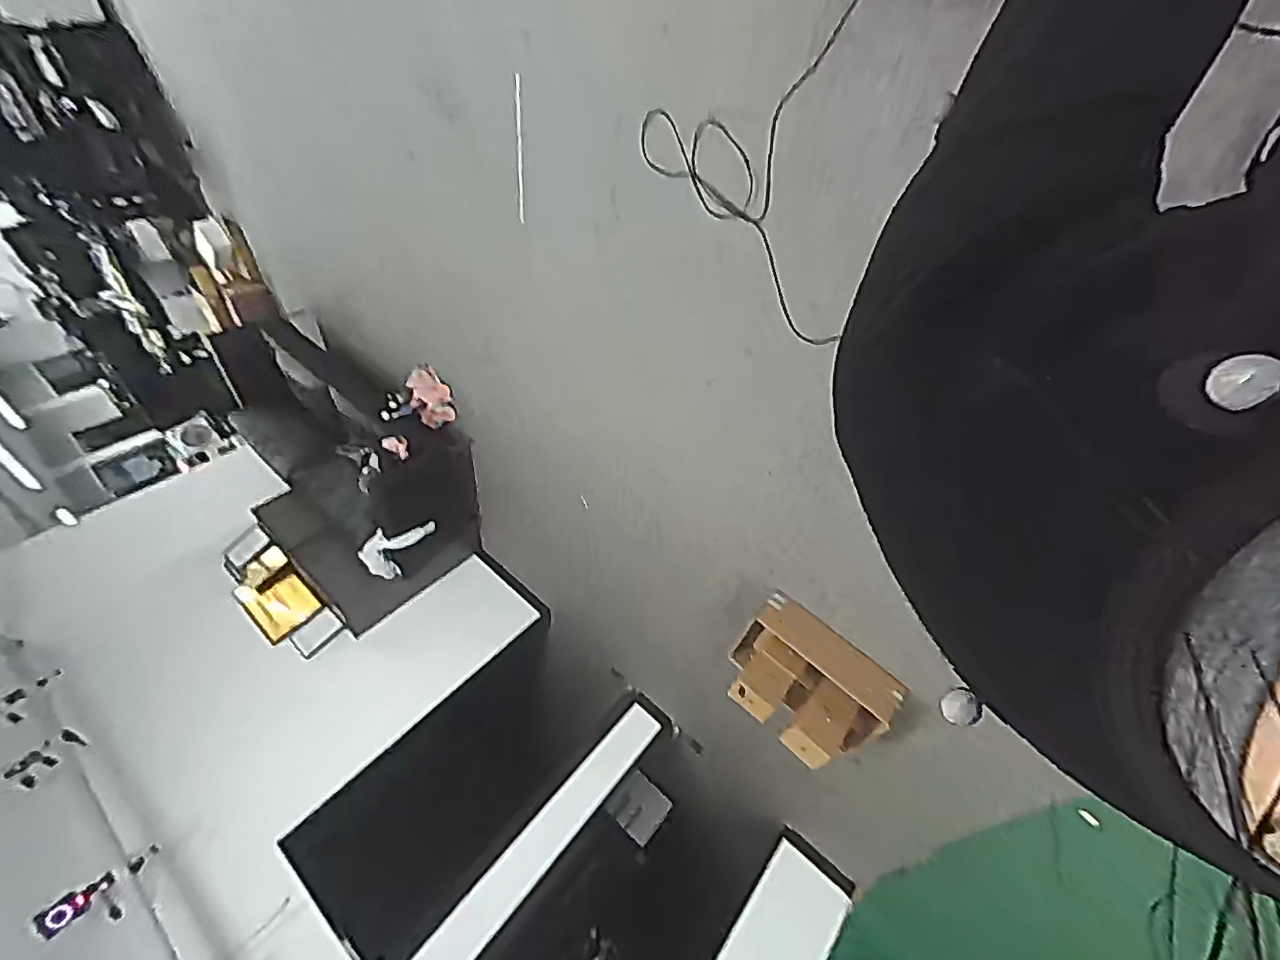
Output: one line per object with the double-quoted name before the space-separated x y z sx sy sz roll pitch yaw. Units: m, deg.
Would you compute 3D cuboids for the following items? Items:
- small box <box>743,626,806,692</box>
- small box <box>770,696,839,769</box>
"small box" 0.571 0.749 2.280 0.179 0.176 0.168 35 139 20
"small box" 0.644 0.983 2.109 0.168 0.176 0.179 39 141 18
